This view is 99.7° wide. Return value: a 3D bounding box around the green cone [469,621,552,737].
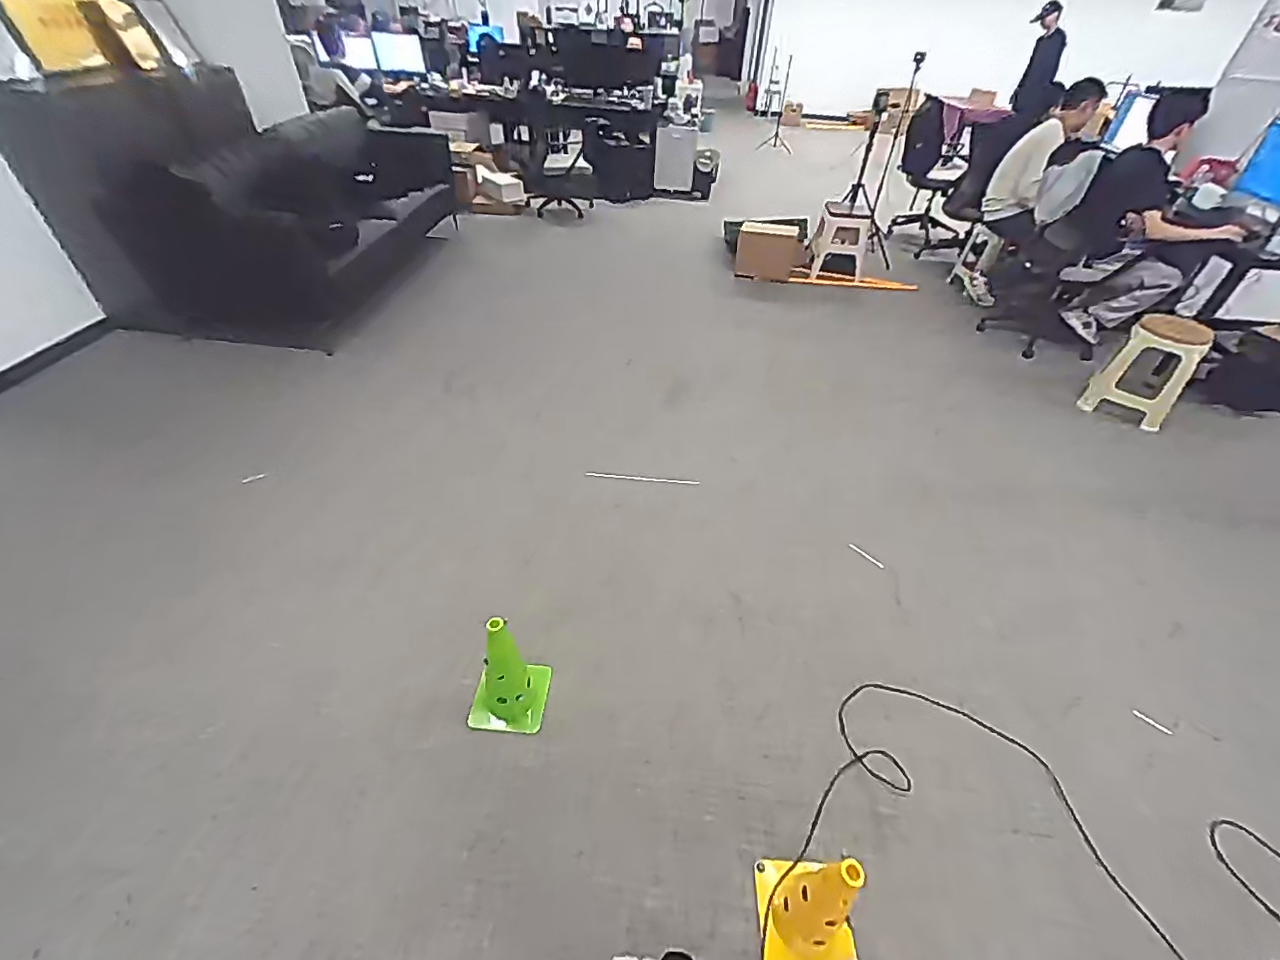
[{"bbox_3d":[-0.353,0.493,1.418,0.202,0.368,0.200,5,41,1],"label":"green cone"}]
